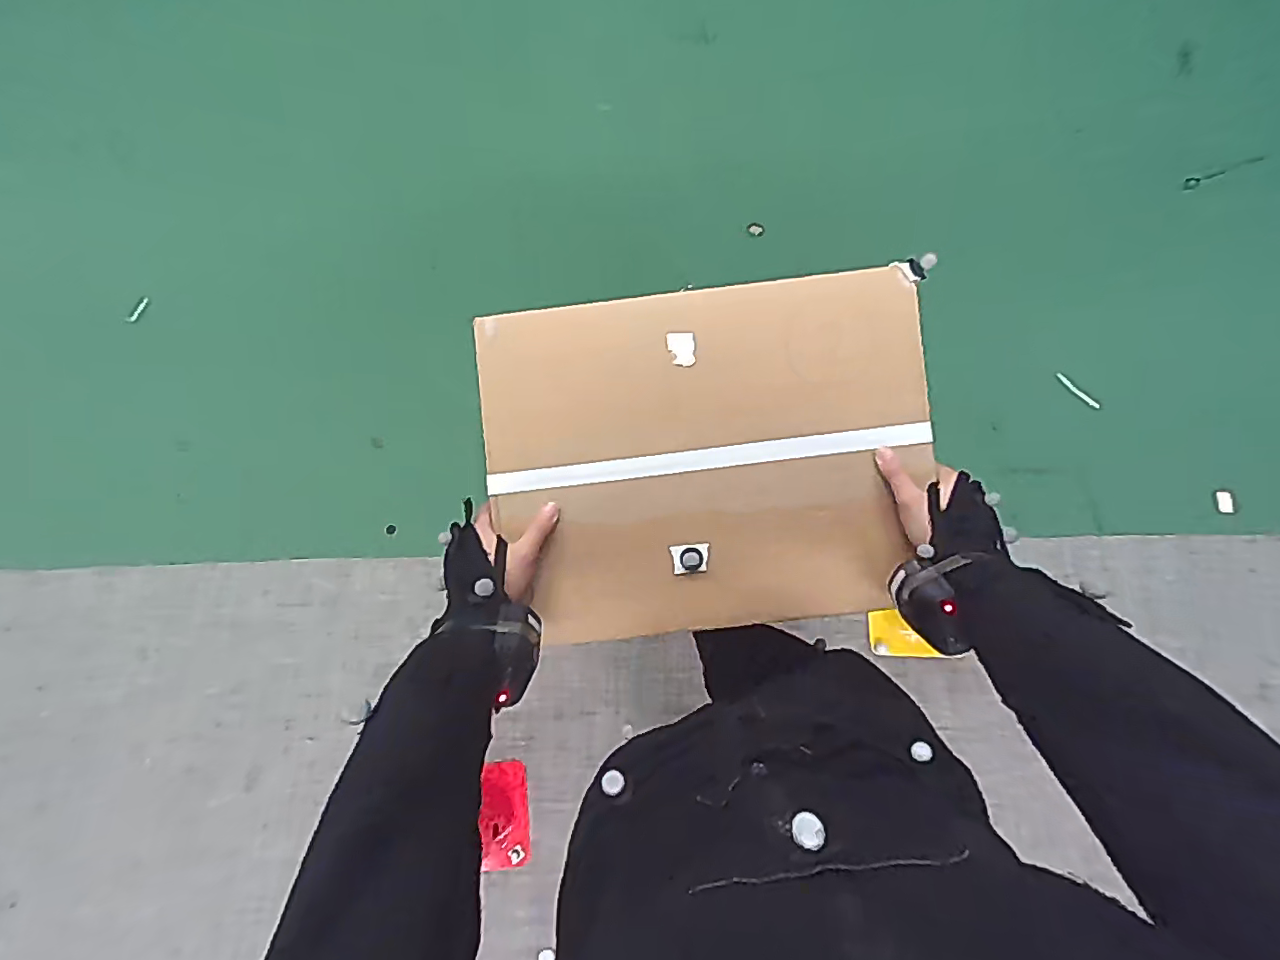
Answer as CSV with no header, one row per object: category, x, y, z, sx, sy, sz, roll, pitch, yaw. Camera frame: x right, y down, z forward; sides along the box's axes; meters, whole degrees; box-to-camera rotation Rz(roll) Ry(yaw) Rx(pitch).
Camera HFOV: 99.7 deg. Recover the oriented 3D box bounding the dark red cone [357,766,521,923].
dark red cone,-0.353,0.648,0.932,0.202,0.394,0.201,-9,73,2
